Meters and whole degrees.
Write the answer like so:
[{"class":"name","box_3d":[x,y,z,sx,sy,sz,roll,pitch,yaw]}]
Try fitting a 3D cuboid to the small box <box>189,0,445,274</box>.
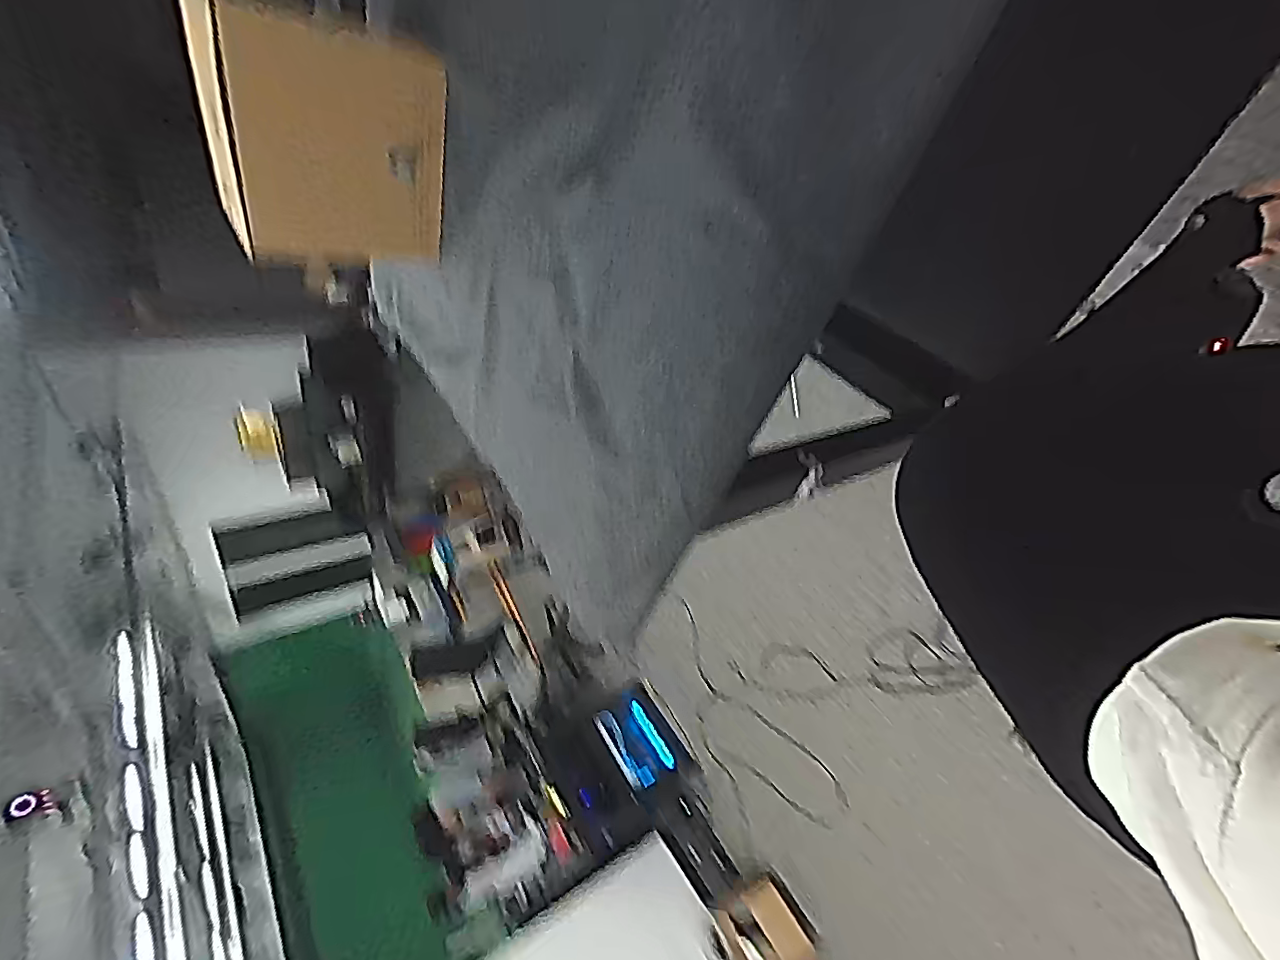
[{"class":"small box","box_3d":[-0.298,-0.314,0.518,0.168,0.176,0.179,46,134,34]}]
